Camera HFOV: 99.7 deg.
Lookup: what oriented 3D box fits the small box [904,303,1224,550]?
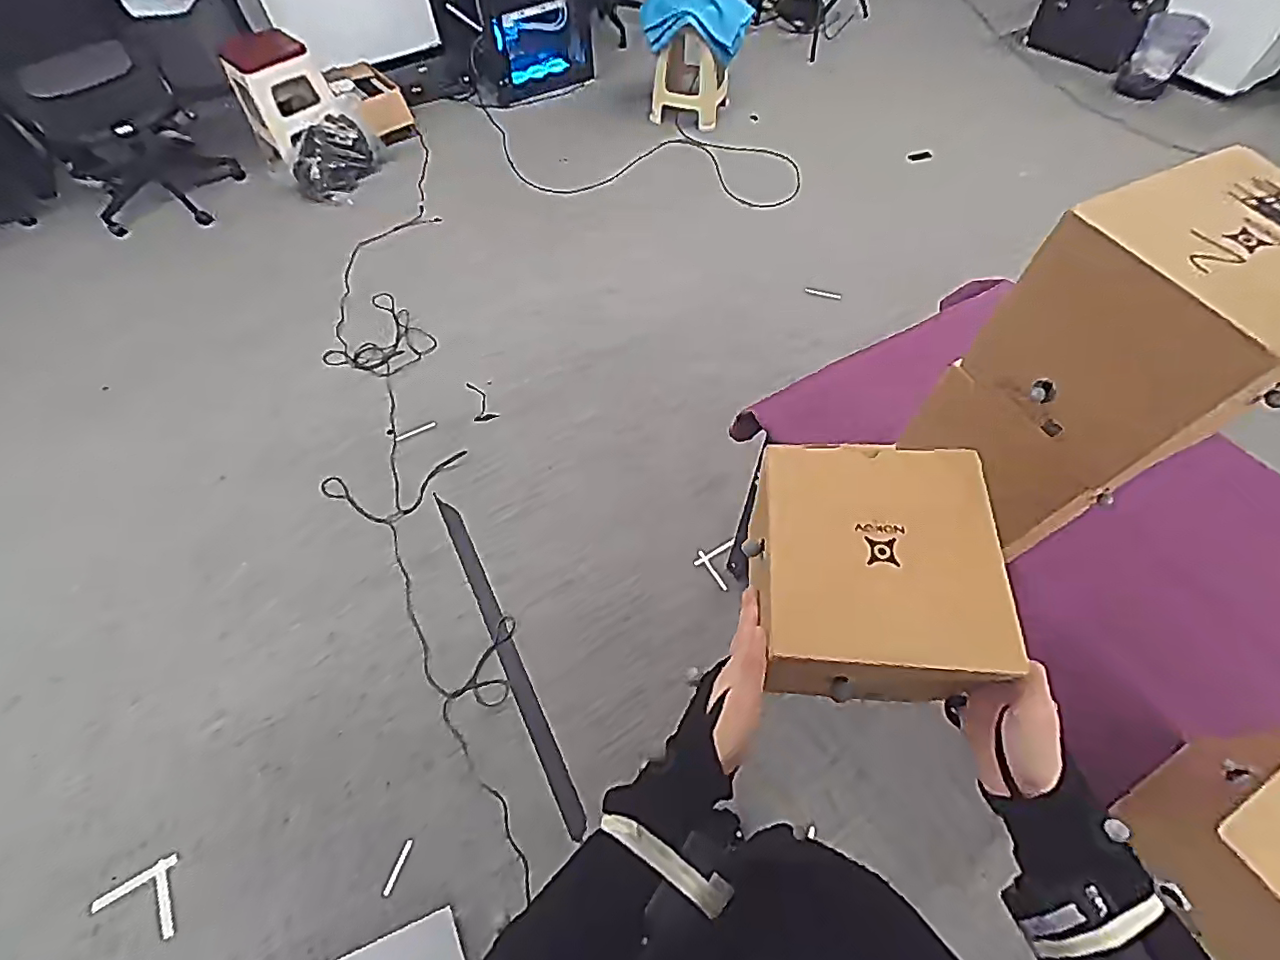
[{"bbox_3d":[0.423,-0.050,0.580,0.179,0.176,0.168,-24,62,-11],"label":"small box"}]

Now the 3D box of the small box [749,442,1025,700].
[{"bbox_3d":[0.185,0.085,0.467,0.168,0.176,0.179,1,61,7],"label":"small box"}]

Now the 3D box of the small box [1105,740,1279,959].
[{"bbox_3d":[0.618,0.369,0.520,0.179,0.176,0.168,-27,61,-12],"label":"small box"}]
